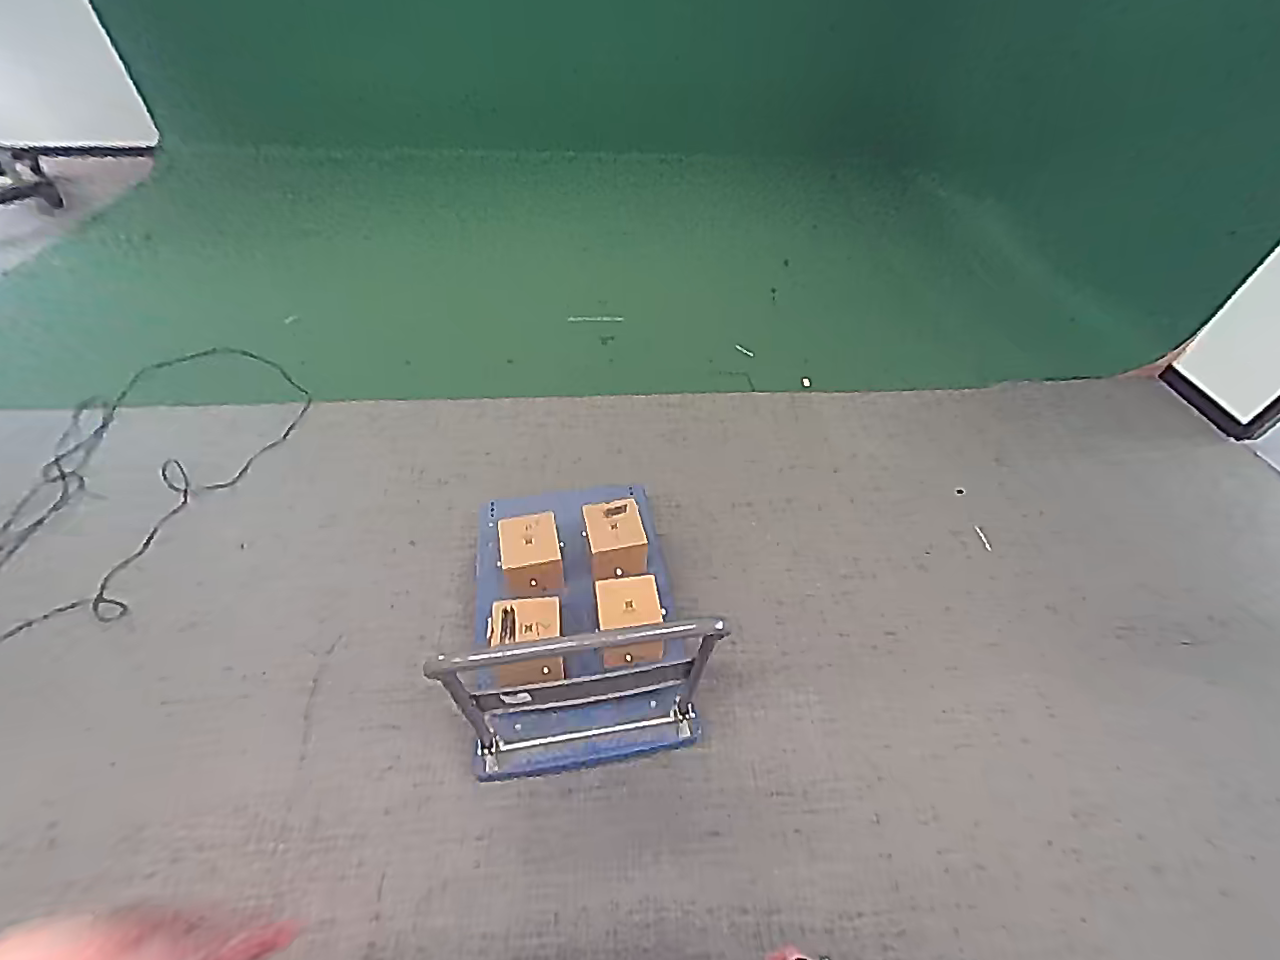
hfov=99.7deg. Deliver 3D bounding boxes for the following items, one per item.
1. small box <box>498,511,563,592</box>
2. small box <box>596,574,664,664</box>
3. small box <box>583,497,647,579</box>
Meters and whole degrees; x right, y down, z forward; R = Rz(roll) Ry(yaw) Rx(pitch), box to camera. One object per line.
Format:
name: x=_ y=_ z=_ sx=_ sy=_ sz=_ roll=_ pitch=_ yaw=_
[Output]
small box: x=-0.324 y=0.220 z=1.612 sx=0.168 sy=0.176 sz=0.179 roll=-8 pitch=50 yaw=-11
small box: x=-0.033 y=0.384 z=1.486 sx=0.168 sy=0.176 sz=0.179 roll=-5 pitch=50 yaw=-8
small box: x=-0.079 y=0.180 z=1.658 sx=0.168 sy=0.176 sz=0.179 roll=-9 pitch=51 yaw=-9
